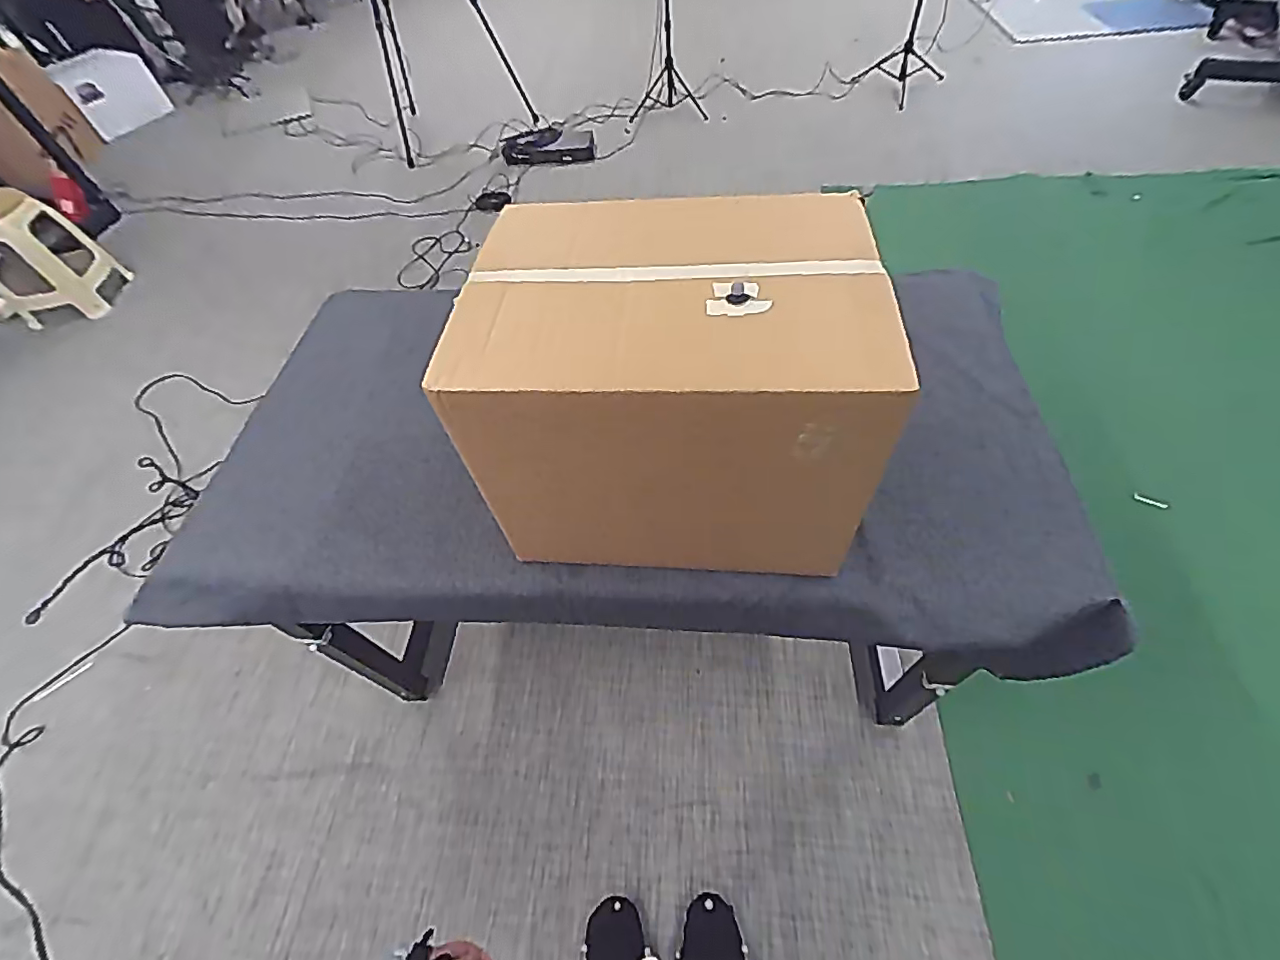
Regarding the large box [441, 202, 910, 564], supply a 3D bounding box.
[{"bbox_3d":[0.041,-0.106,0.657,0.408,0.320,0.320,1,53,6],"label":"large box"}]
